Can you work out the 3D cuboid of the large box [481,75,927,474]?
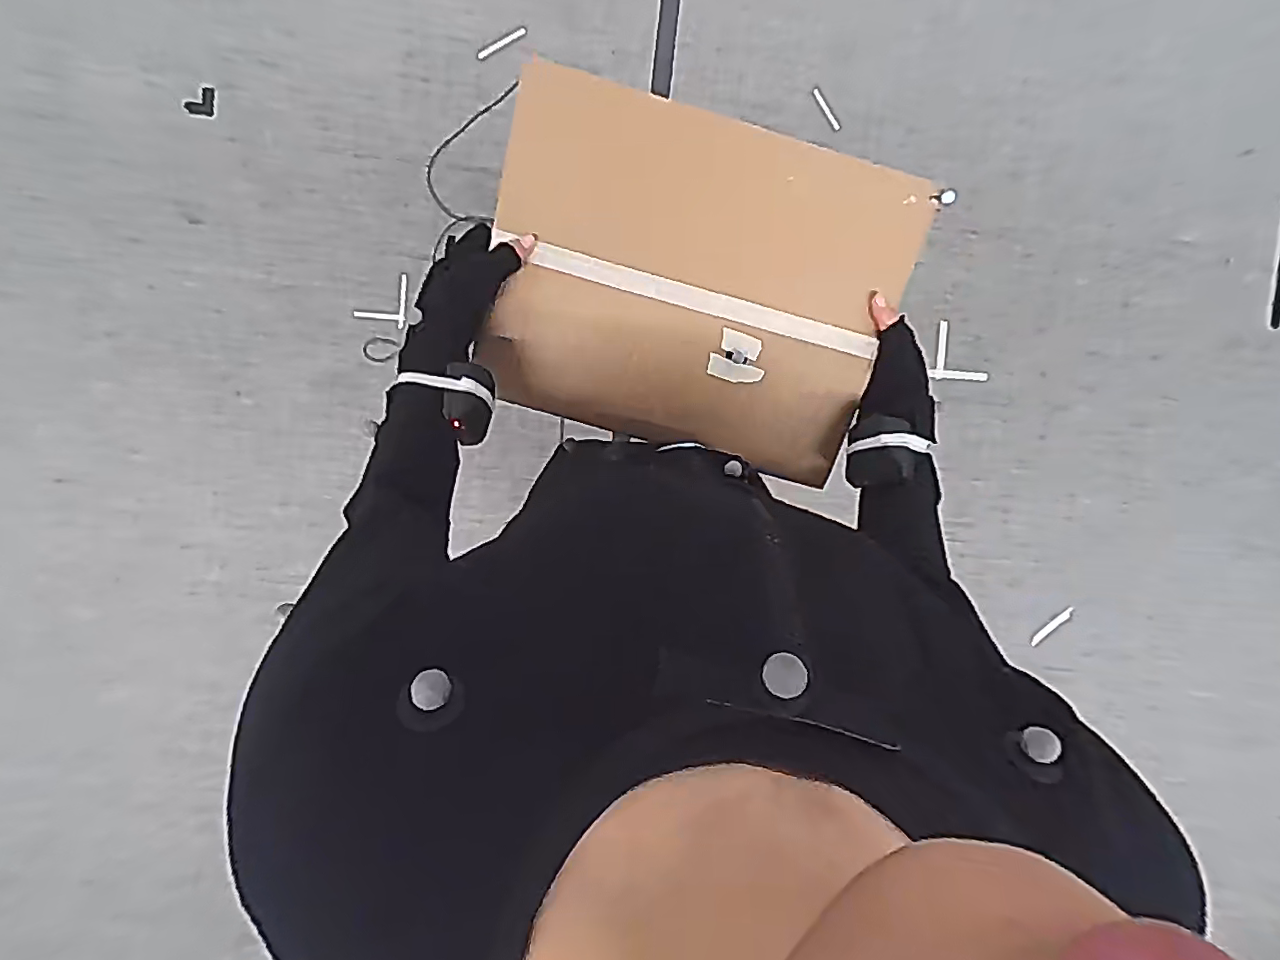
[{"bbox_3d":[0.054,-0.239,0.701,0.408,0.320,0.320,15,109,-3],"label":"large box"}]
